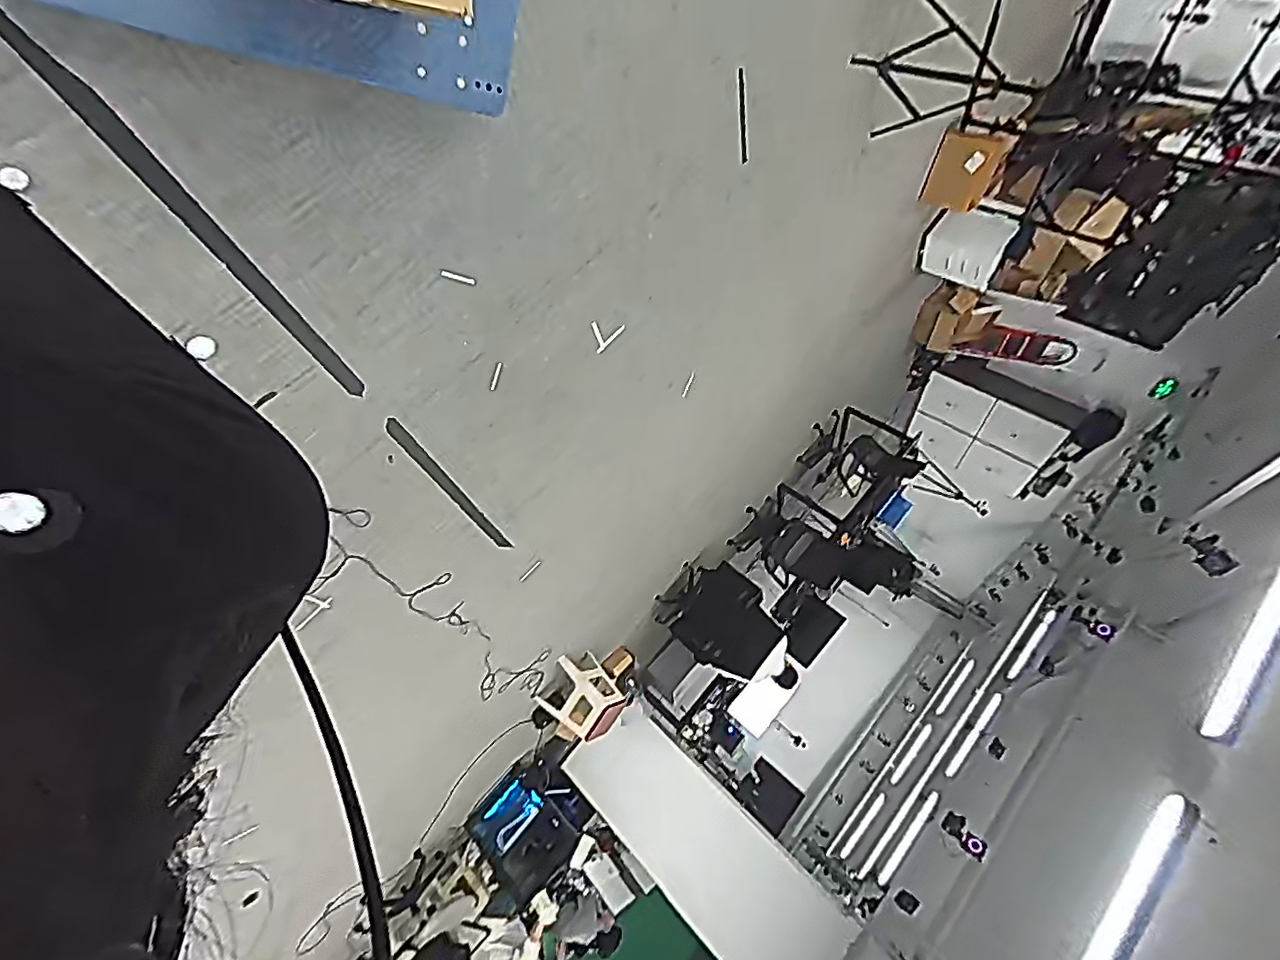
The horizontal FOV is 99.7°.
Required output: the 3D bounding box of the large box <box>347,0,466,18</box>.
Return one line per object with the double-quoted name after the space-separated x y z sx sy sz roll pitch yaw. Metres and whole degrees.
-0.452 -0.906 0.713 0.320 0.320 0.408 -19 136 -33 "large box"
